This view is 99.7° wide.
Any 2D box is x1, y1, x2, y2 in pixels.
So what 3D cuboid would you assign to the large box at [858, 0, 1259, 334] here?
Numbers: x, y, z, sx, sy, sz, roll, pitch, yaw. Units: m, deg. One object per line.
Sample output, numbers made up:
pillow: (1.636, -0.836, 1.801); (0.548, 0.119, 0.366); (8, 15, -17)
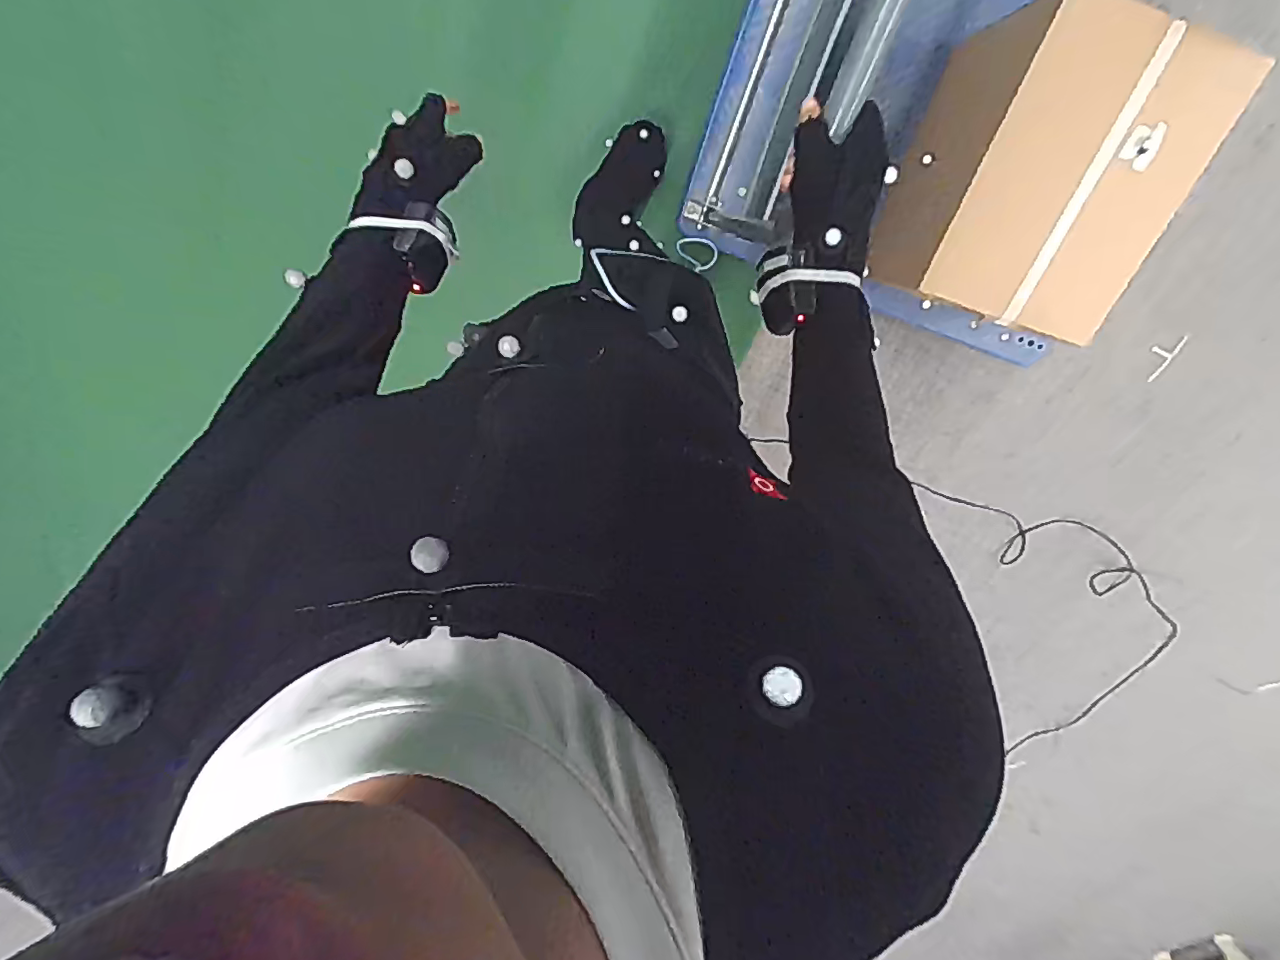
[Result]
large box: (0.645, -0.511, 0.933); (0.320, 0.320, 0.408); (16, 114, -7)
